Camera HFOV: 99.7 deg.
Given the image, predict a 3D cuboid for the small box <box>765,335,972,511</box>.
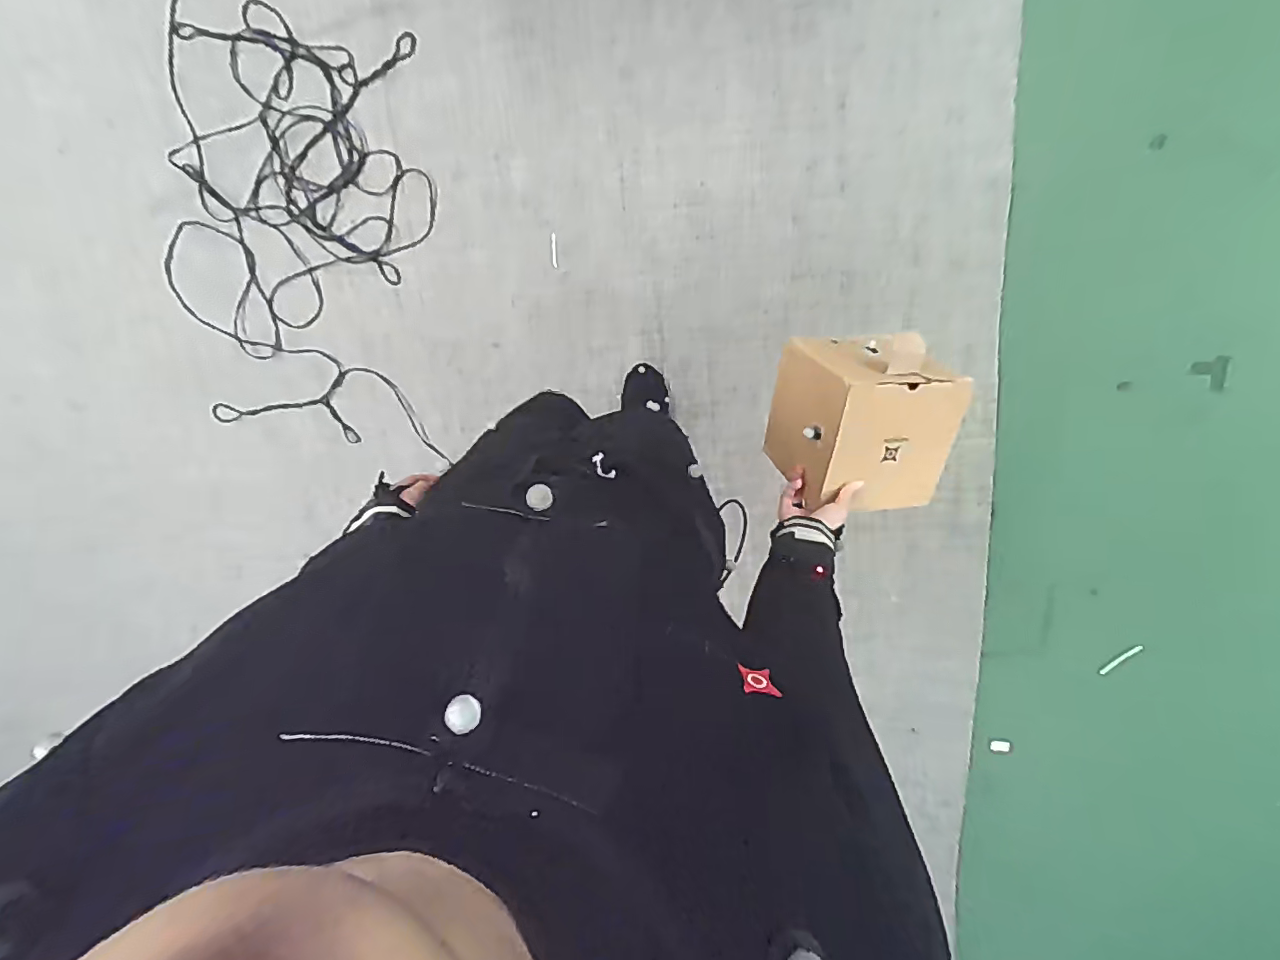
[{"bbox_3d":[0.280,-0.079,0.711,0.168,0.176,0.179,-4,121,-13],"label":"small box"}]
